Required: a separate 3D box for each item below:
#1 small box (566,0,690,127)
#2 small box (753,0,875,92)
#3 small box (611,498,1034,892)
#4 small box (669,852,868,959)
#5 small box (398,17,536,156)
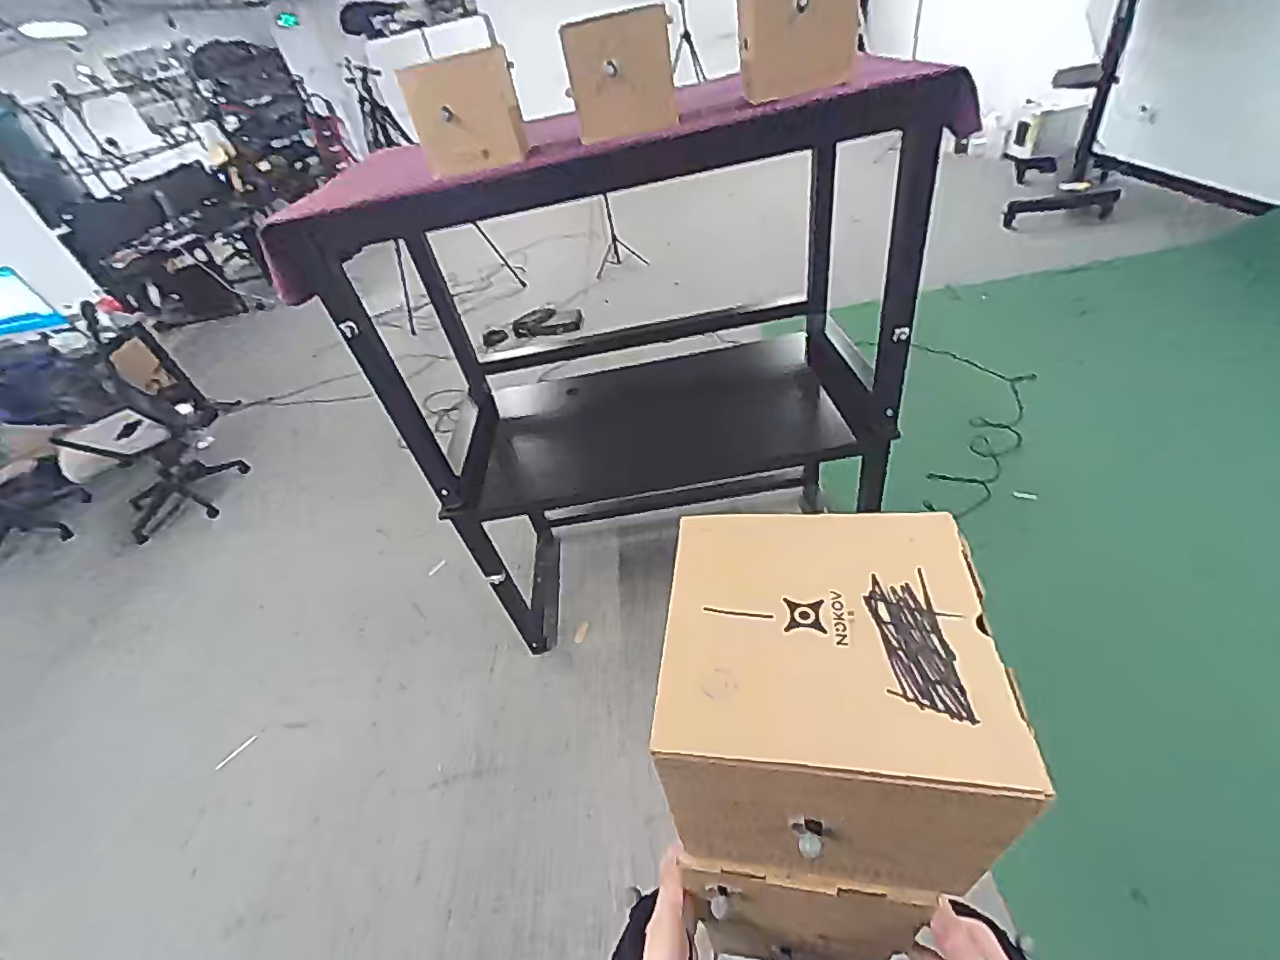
[{"bbox_3d":[-0.015,-0.729,0.931,0.179,0.176,0.168,-8,41,6],"label":"small box"},{"bbox_3d":[0.290,-0.779,0.916,0.179,0.176,0.168,-6,41,8],"label":"small box"},{"bbox_3d":[0.097,0.130,0.338,0.179,0.176,0.168,1,42,14],"label":"small box"},{"bbox_3d":[0.132,0.374,0.557,0.168,0.176,0.179,2,42,14],"label":"small box"},{"bbox_3d":[-0.290,-0.687,0.952,0.168,0.176,0.179,-9,40,4],"label":"small box"}]
